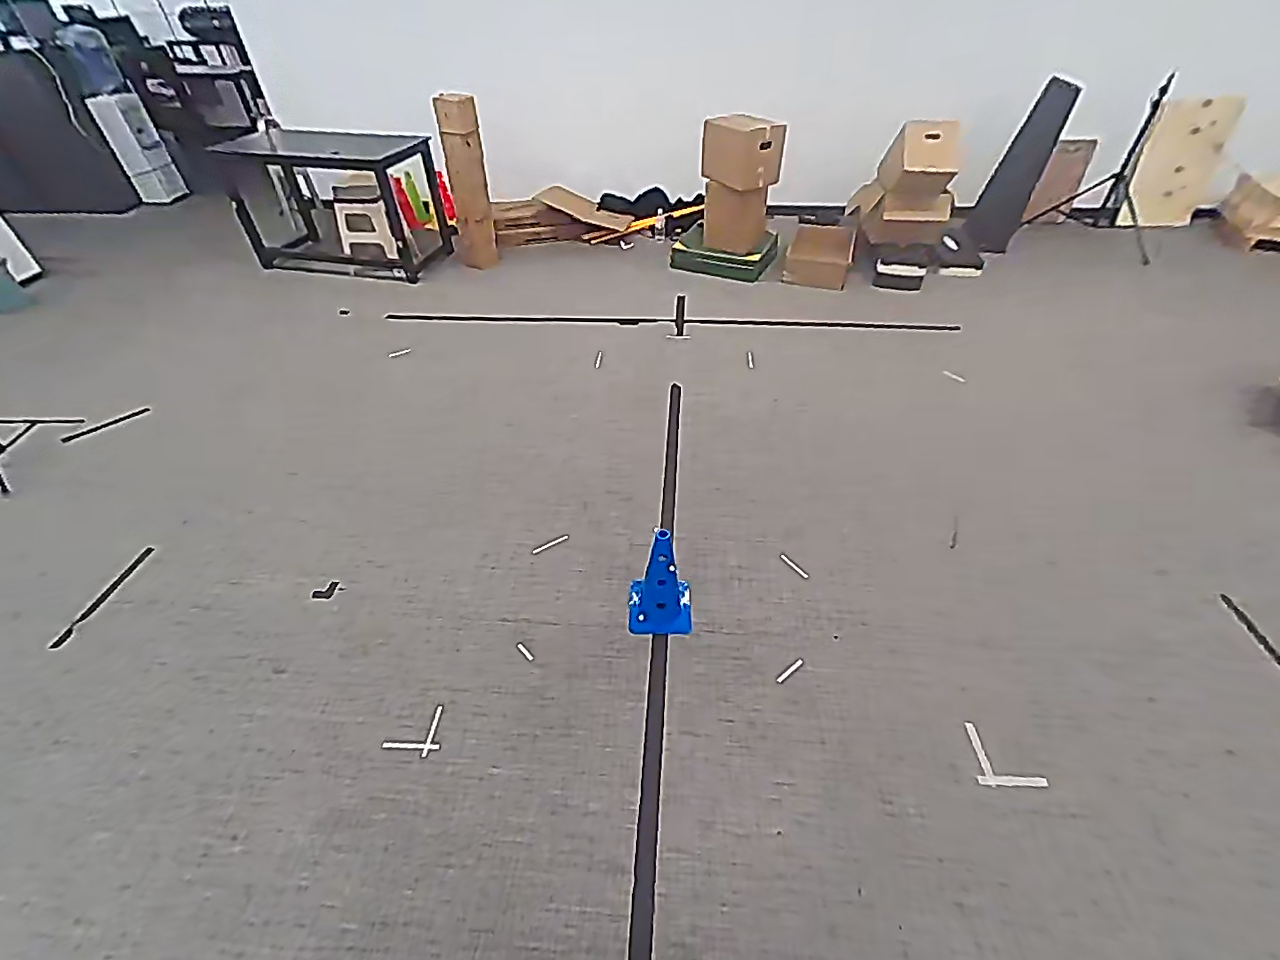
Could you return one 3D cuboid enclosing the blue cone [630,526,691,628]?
[{"bbox_3d":[0.066,0.271,1.619,0.192,0.380,0.193,-1,44,-1],"label":"blue cone"}]
